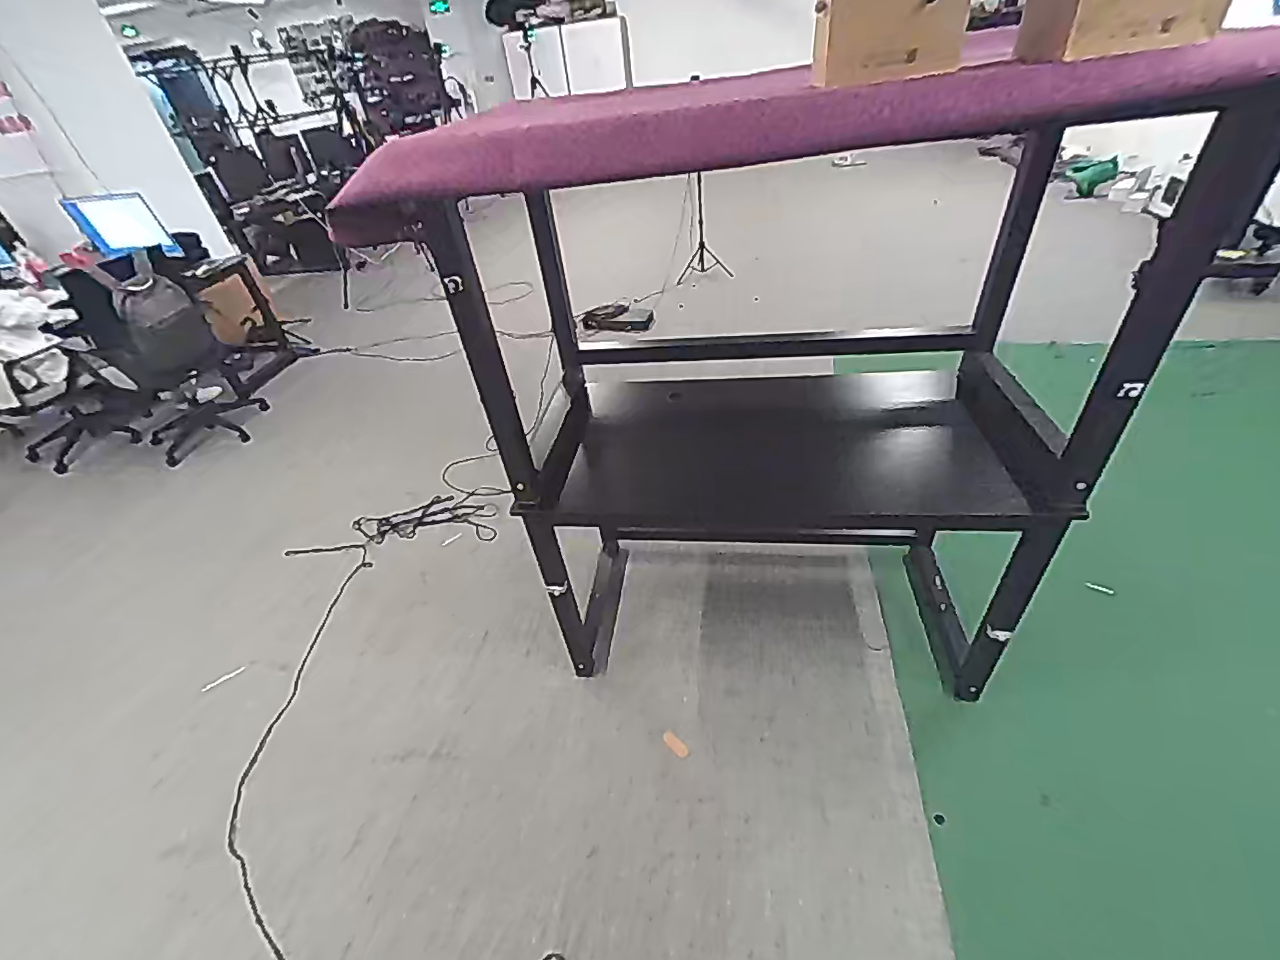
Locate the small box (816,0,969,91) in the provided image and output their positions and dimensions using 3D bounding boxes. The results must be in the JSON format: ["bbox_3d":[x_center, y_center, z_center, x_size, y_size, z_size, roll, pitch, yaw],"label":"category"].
[{"bbox_3d":[0.336,-0.637,0.730,0.168,0.176,0.179,1,38,10],"label":"small box"}]

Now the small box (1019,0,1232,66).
[{"bbox_3d":[0.612,-0.631,0.672,0.168,0.176,0.179,0,39,12],"label":"small box"}]
